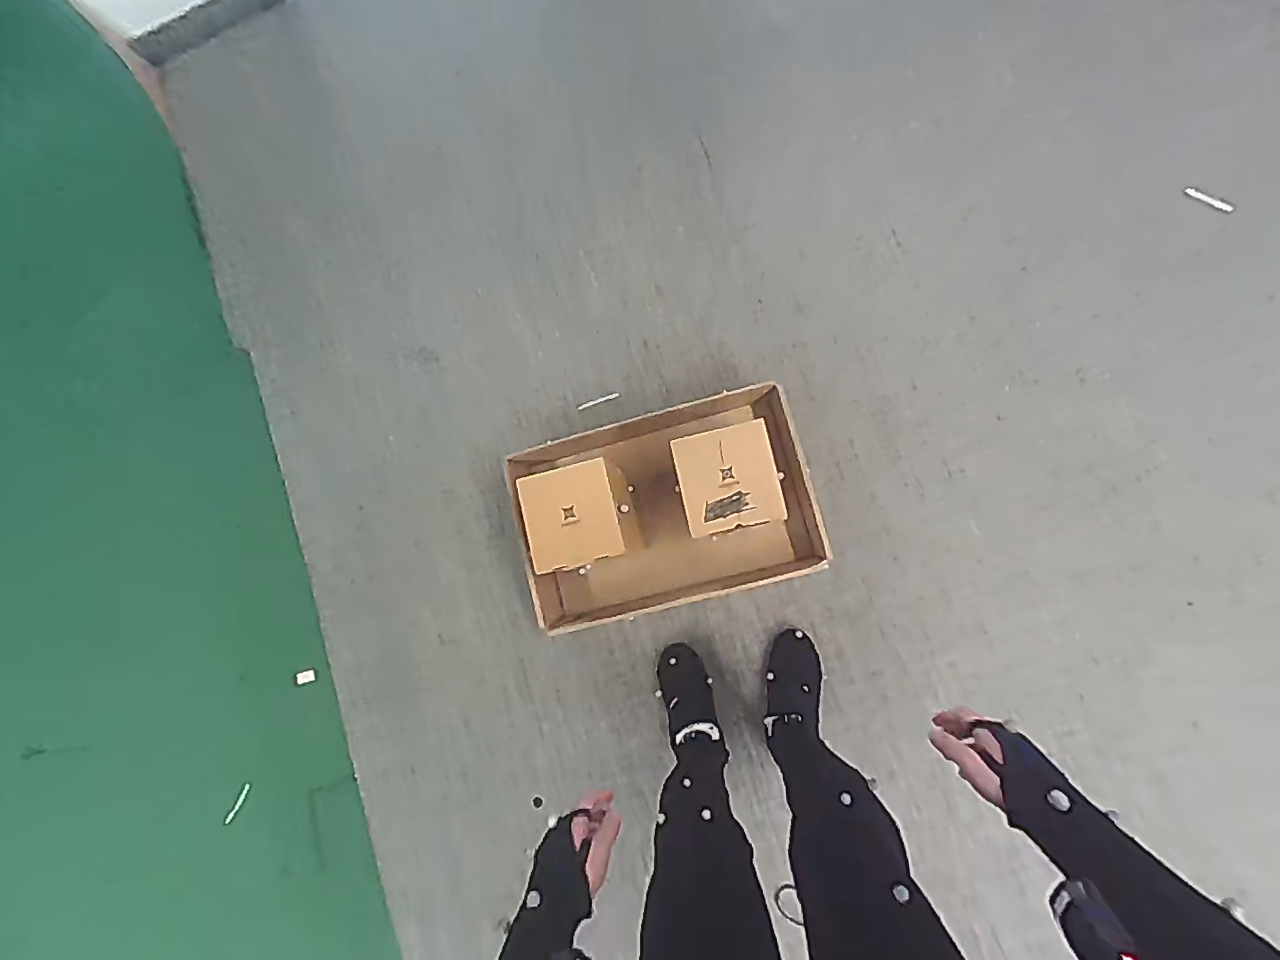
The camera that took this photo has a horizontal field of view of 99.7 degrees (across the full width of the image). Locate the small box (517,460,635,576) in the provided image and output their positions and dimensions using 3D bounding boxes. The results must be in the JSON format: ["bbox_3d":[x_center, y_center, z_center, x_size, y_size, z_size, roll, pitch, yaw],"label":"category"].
[{"bbox_3d":[-0.114,0.075,1.018,0.168,0.176,0.179,-14,83,5],"label":"small box"}]

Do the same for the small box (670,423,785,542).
[{"bbox_3d":[0.159,0.010,0.984,0.168,0.176,0.179,-13,82,8],"label":"small box"}]
